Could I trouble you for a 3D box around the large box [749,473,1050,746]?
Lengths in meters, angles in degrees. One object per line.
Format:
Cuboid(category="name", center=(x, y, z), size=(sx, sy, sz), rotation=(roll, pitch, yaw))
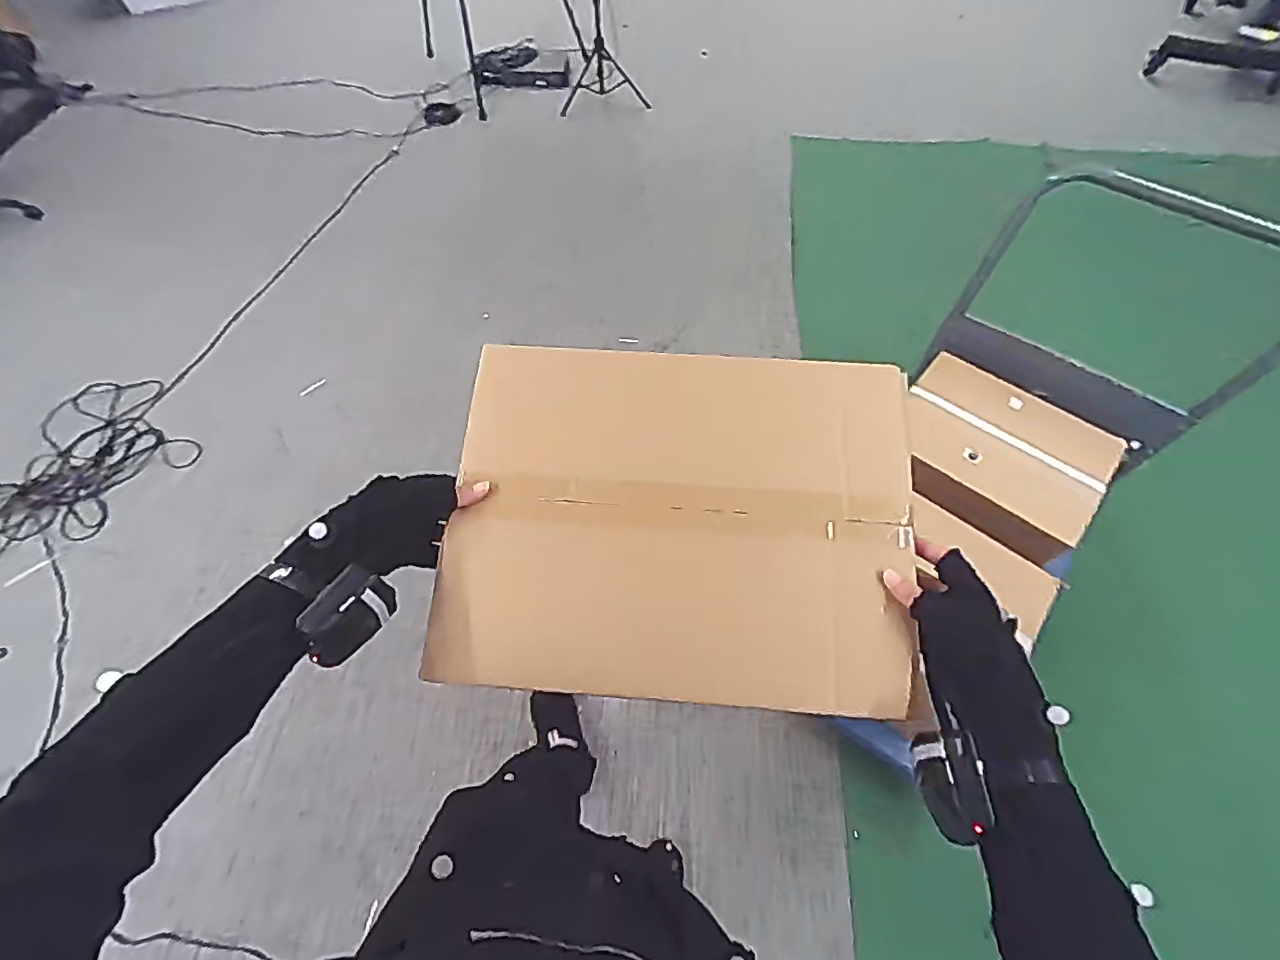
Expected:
Cuboid(category="large box", center=(0.497, 0.266, 1.112), size=(0.408, 0.320, 0.320), rotation=(37, 64, 19))
